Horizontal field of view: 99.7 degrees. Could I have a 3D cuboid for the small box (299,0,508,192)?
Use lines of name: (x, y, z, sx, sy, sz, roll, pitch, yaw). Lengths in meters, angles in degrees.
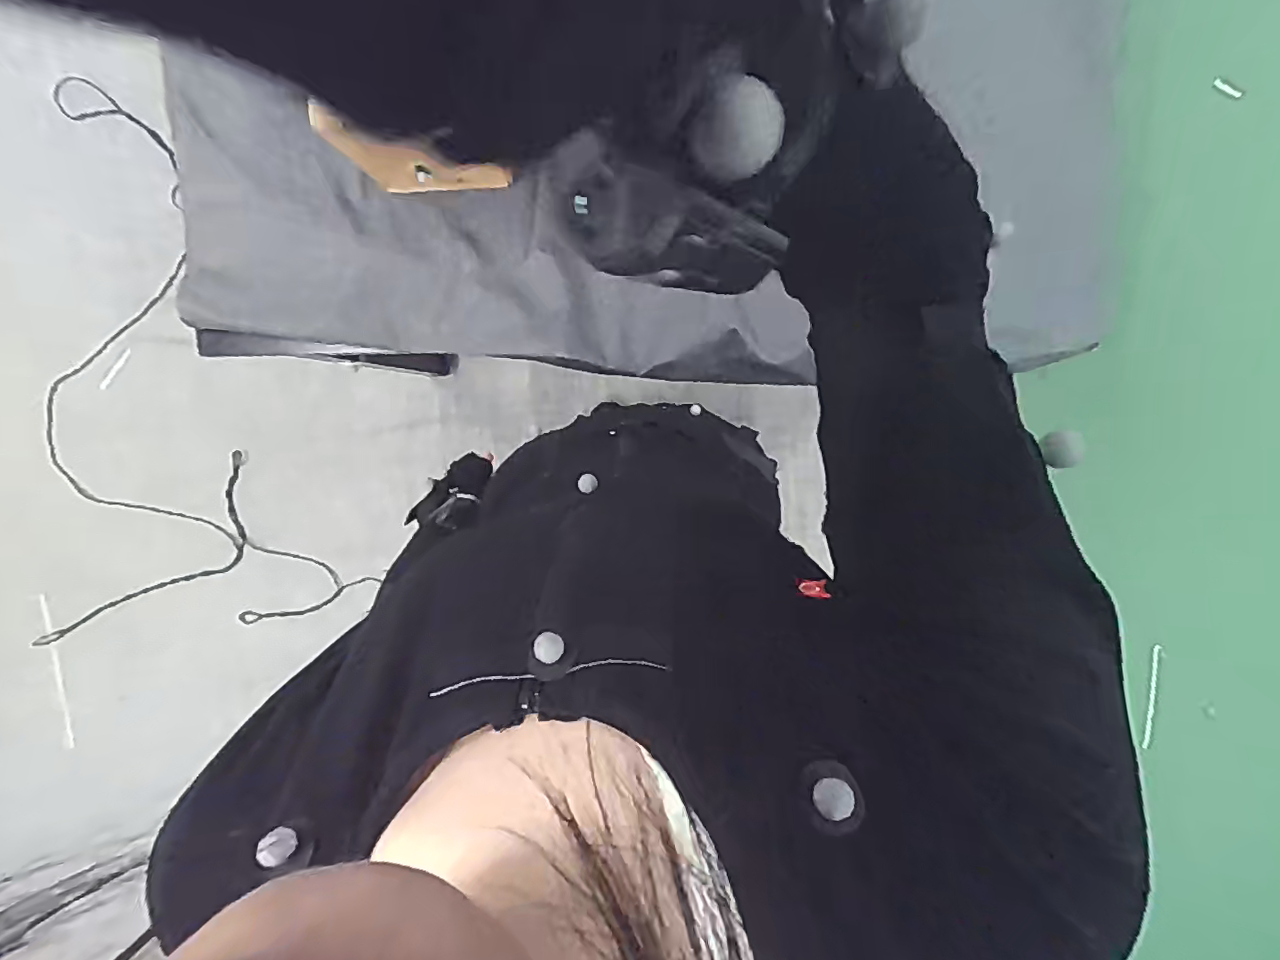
small box: (-0.254, -0.454, 0.614, 0.168, 0.176, 0.179, -2, 98, 1)
